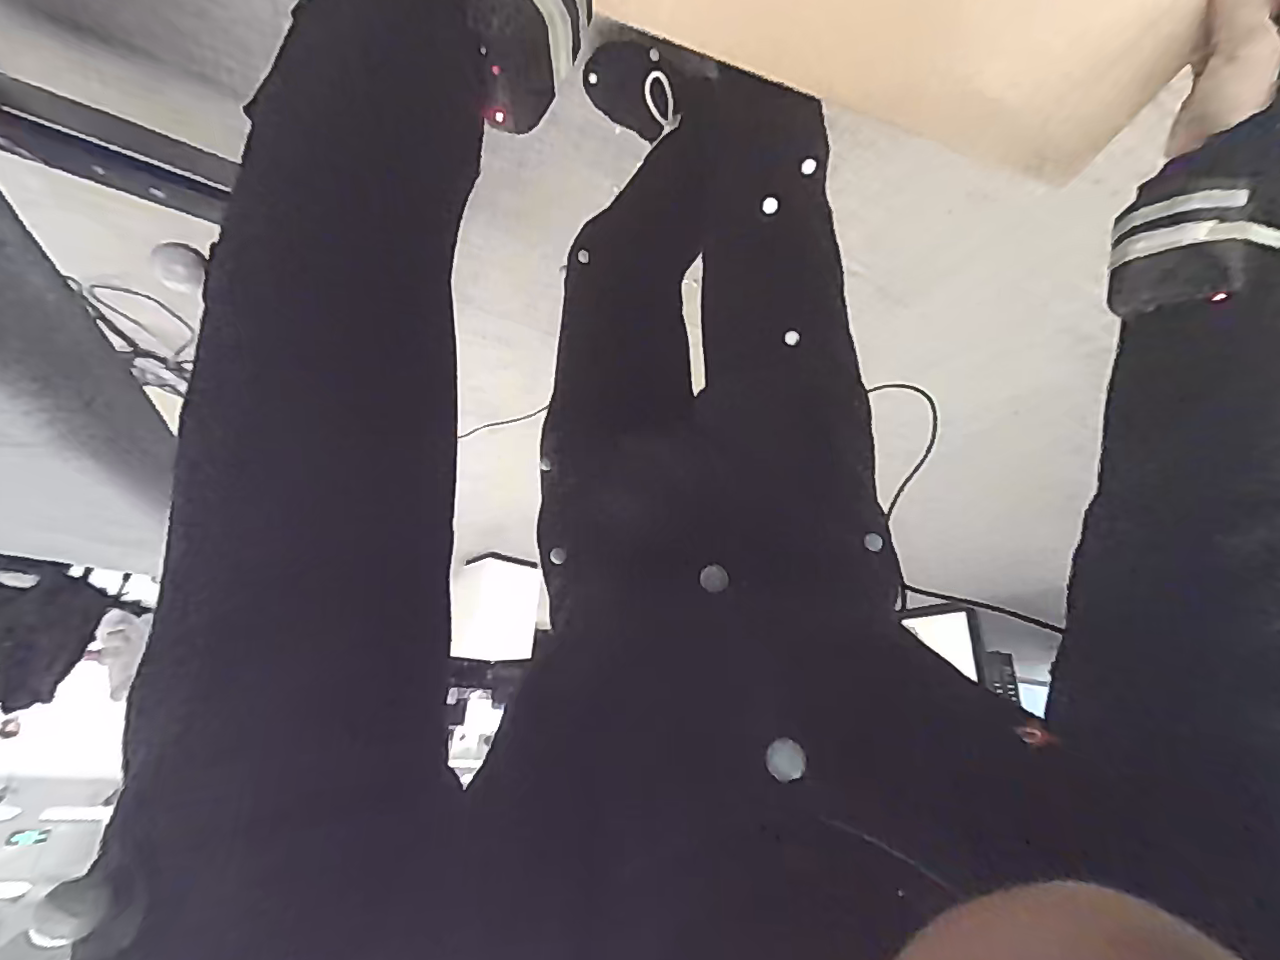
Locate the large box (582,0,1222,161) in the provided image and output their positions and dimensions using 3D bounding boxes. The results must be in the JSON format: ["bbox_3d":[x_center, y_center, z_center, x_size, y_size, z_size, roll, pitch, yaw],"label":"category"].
[{"bbox_3d":[0.178,-0.477,0.328,0.408,0.320,0.320,12,148,-10],"label":"large box"}]
